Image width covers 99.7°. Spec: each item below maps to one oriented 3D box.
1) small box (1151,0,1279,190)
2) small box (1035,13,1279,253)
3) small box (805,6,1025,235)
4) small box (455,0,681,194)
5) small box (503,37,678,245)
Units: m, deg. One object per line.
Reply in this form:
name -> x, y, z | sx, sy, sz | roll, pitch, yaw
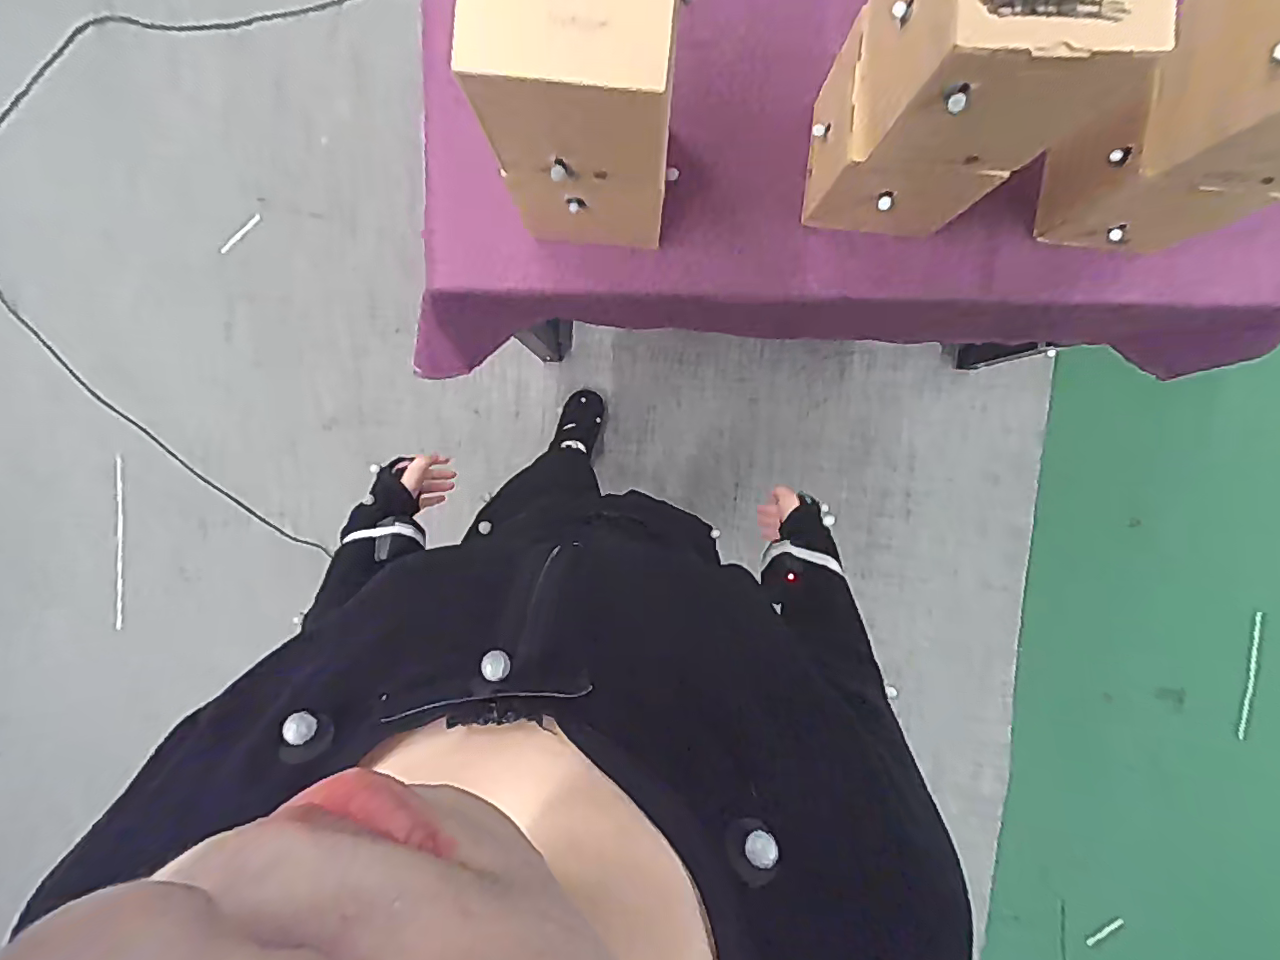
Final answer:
small box -> 0.624, -0.390, 0.489 | 0.168, 0.176, 0.179 | 5, 93, -1
small box -> 0.623, -0.400, 0.654 | 0.168, 0.176, 0.179 | 7, 94, 0
small box -> 0.312, -0.415, 0.652 | 0.179, 0.176, 0.168 | 6, 93, 0
small box -> -0.051, -0.395, 0.489 | 0.168, 0.176, 0.179 | 7, 94, 0
small box -> -0.053, -0.400, 0.652 | 0.179, 0.176, 0.168 | 5, 93, -1
